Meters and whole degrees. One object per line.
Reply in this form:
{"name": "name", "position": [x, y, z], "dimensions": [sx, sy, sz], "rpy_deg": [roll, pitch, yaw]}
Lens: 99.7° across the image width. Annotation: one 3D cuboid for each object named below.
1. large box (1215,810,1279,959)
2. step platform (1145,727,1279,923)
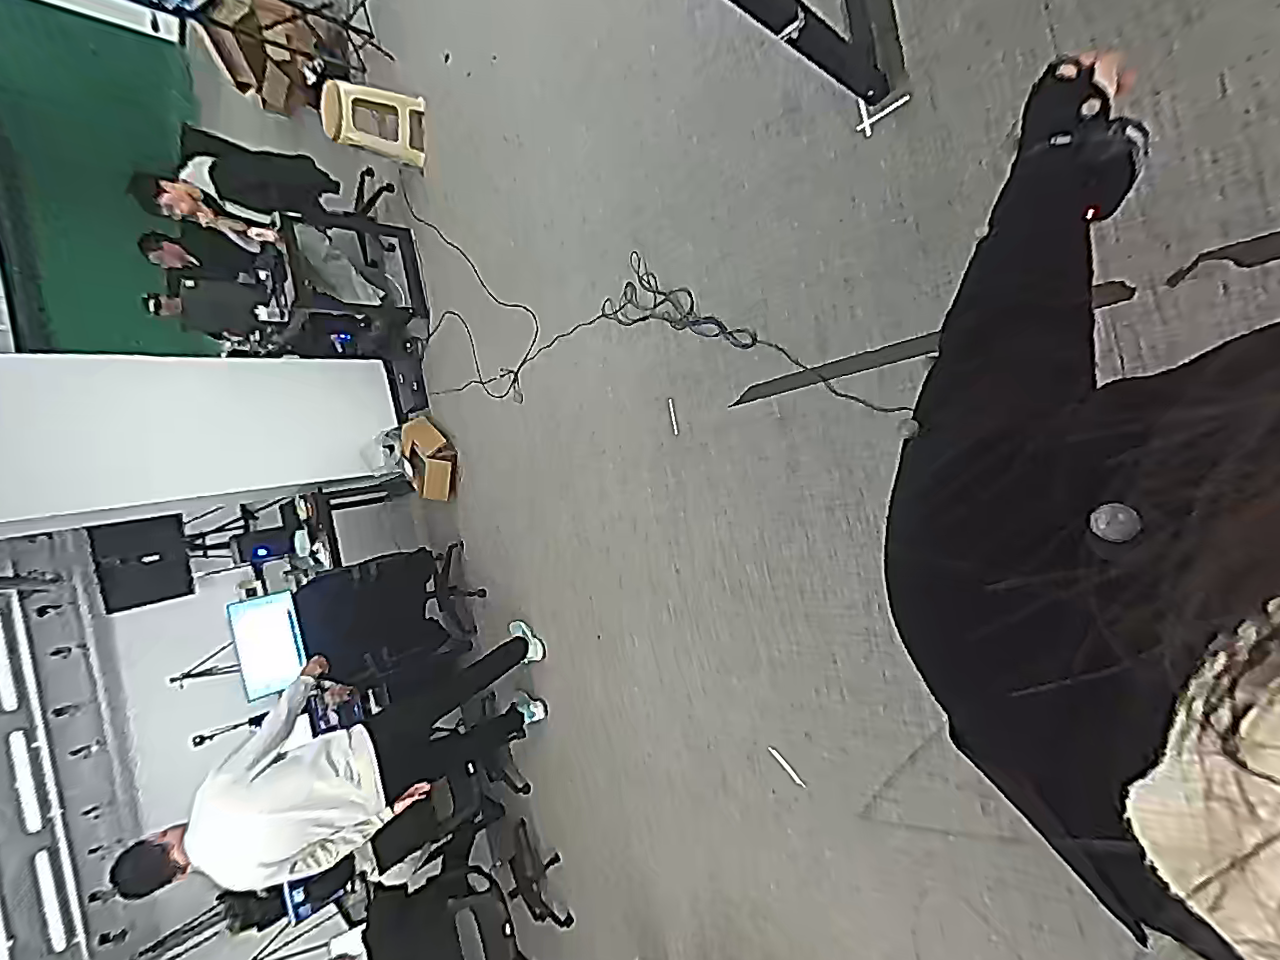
{"name": "large box", "position": [1.088, 0.728, 0.725], "dimensions": [0.408, 0.320, 0.320], "rpy_deg": [-9, 92, 46]}
{"name": "step platform", "position": [1.275, 0.665, 0.865], "dimensions": [0.684, 0.204, 0.286], "rpy_deg": [-1, 97, 46]}
